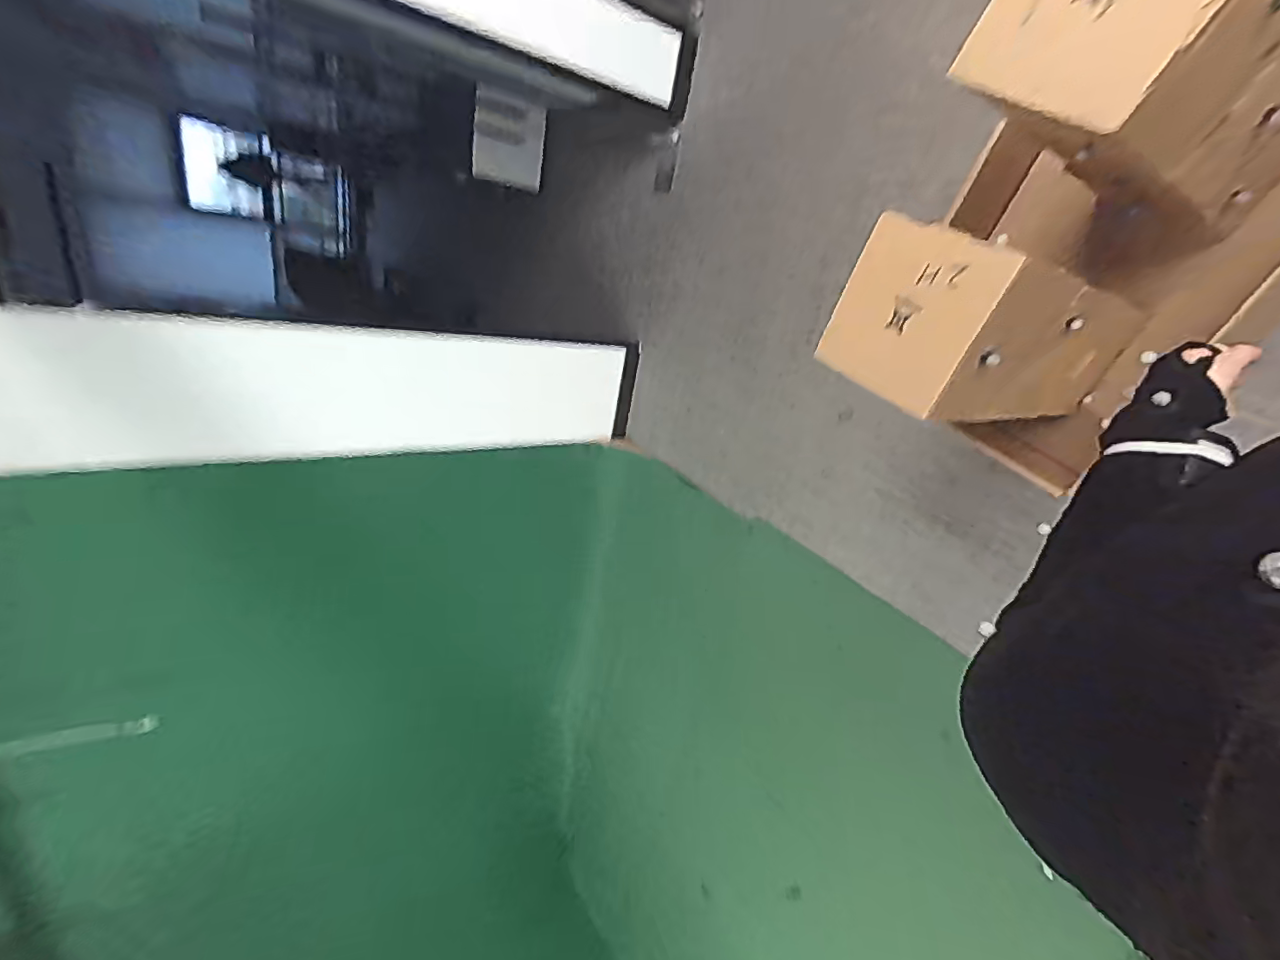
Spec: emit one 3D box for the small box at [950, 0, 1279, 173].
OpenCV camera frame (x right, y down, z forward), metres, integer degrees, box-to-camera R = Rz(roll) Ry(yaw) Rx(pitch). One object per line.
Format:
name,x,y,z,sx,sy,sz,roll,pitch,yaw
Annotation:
small box,0.441,-0.405,0.490,0.179,0.176,0.168,57,136,34

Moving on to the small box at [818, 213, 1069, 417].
small box,0.357,-0.188,0.643,0.168,0.176,0.179,48,130,39

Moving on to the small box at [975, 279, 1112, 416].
small box,0.489,-0.200,0.741,0.168,0.176,0.179,49,130,40
